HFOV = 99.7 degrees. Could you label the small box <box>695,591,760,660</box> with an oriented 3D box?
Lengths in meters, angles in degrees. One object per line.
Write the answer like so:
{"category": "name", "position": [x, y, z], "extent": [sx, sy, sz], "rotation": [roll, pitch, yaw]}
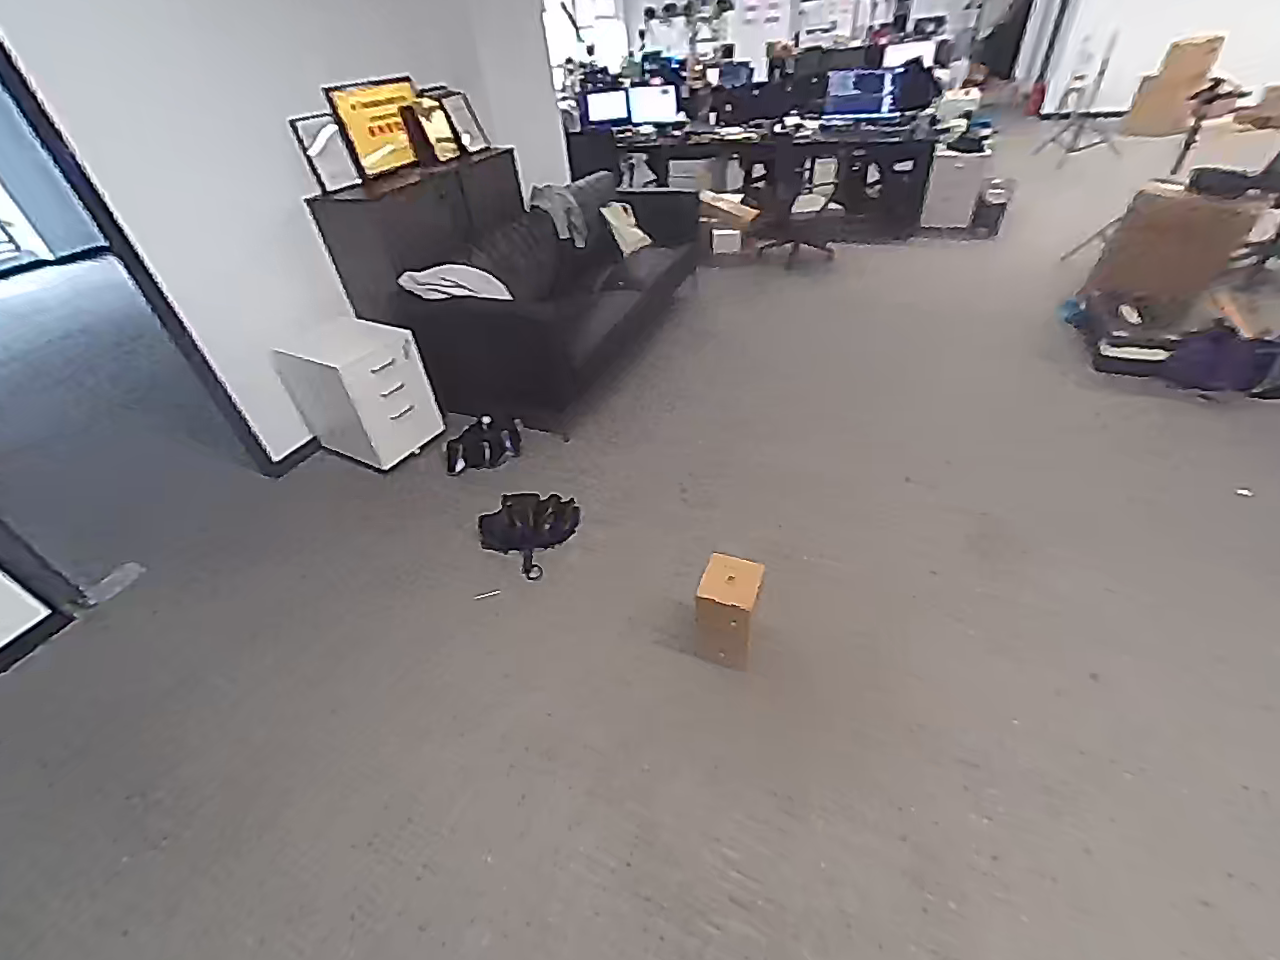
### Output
{"category": "small box", "position": [0.283, 0.449, 1.735], "extent": [0.168, 0.176, 0.179], "rotation": [11, 44, 19]}

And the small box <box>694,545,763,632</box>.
{"category": "small box", "position": [0.268, 0.329, 1.626], "extent": [0.168, 0.176, 0.179], "rotation": [12, 43, 19]}
